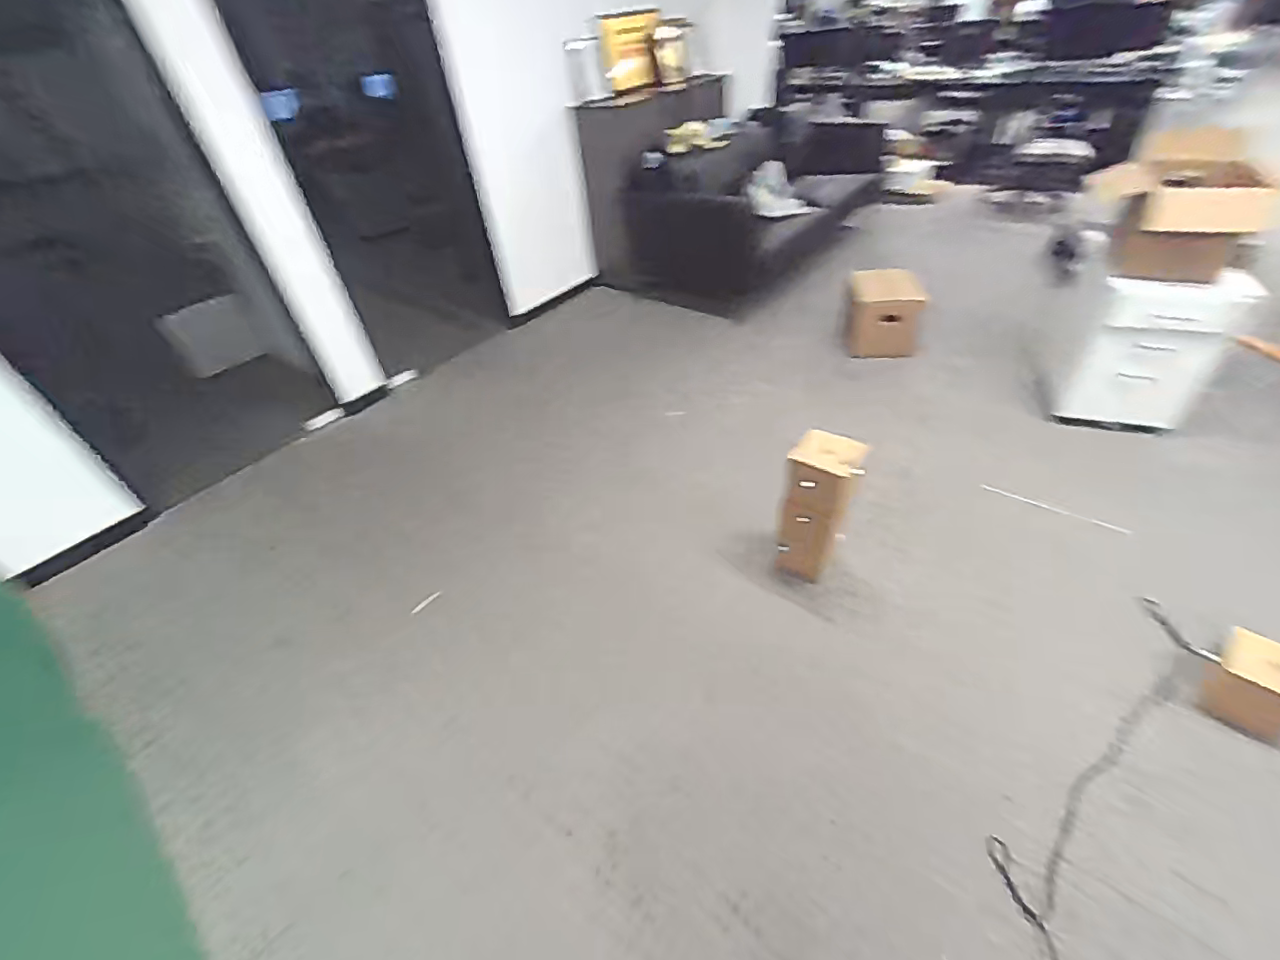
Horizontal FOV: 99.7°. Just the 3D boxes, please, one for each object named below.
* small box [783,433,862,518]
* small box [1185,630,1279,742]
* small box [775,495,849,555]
[{"bbox_3d":[0.546,-0.012,1.639,0.179,0.176,0.168,23,49,31],"label":"small box"},{"bbox_3d":[1.542,0.524,1.370,0.179,0.176,0.168,27,51,32],"label":"small box"},{"bbox_3d":[0.552,0.114,1.744,0.179,0.176,0.168,24,50,29],"label":"small box"}]
